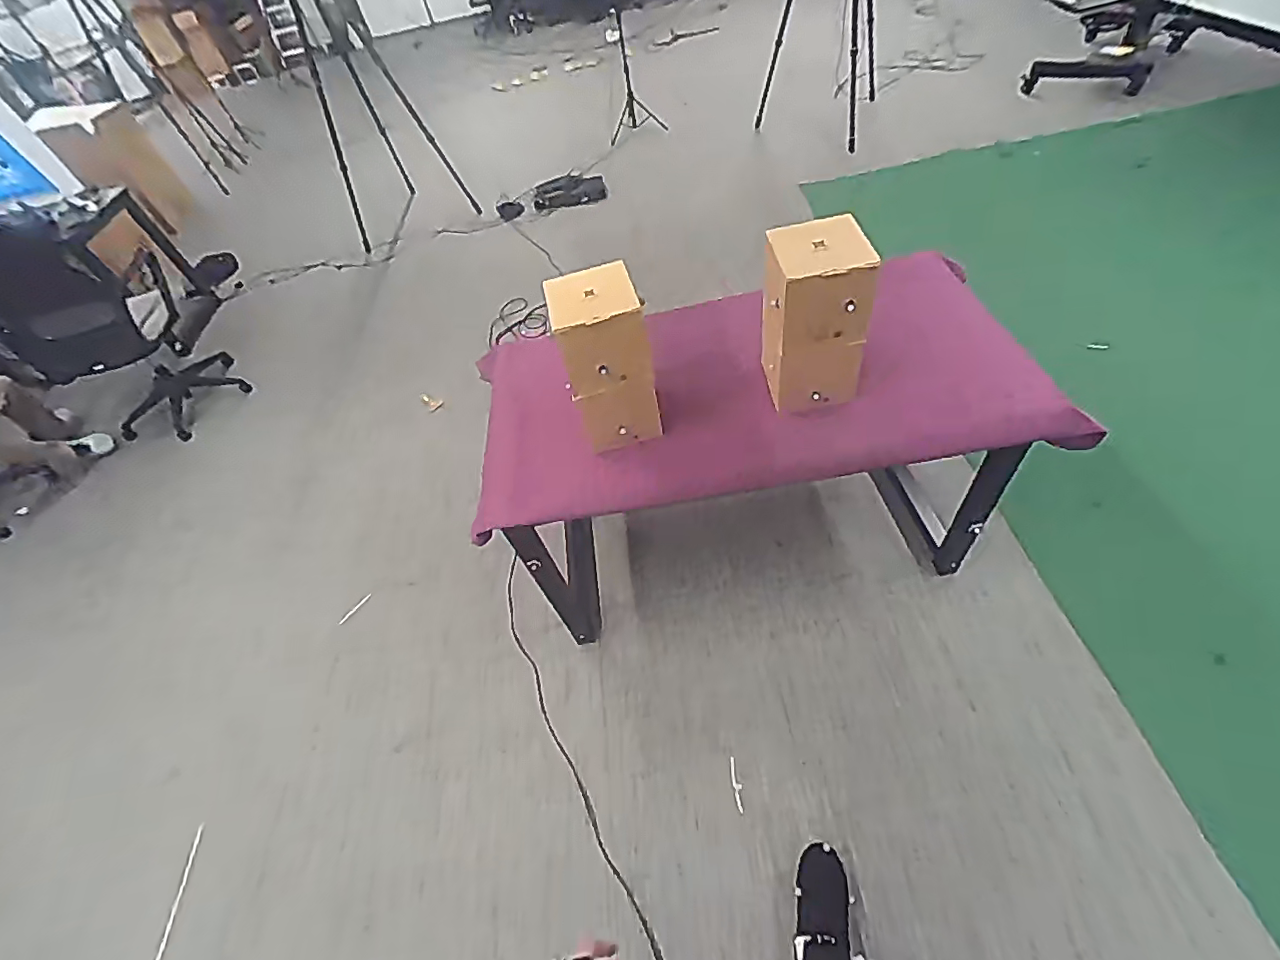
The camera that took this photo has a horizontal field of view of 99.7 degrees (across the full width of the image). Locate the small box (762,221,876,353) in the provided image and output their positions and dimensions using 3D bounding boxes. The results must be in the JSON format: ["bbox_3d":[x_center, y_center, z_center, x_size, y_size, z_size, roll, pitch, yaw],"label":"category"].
[{"bbox_3d":[0.337,-0.363,1.045,0.168,0.176,0.179,-9,51,5],"label":"small box"}]

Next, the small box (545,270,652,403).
[{"bbox_3d":[-0.081,-0.283,1.077,0.168,0.176,0.179,-16,51,-1],"label":"small box"}]

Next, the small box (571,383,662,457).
[{"bbox_3d":[-0.055,-0.180,1.199,0.168,0.176,0.179,-15,50,1],"label":"small box"}]
